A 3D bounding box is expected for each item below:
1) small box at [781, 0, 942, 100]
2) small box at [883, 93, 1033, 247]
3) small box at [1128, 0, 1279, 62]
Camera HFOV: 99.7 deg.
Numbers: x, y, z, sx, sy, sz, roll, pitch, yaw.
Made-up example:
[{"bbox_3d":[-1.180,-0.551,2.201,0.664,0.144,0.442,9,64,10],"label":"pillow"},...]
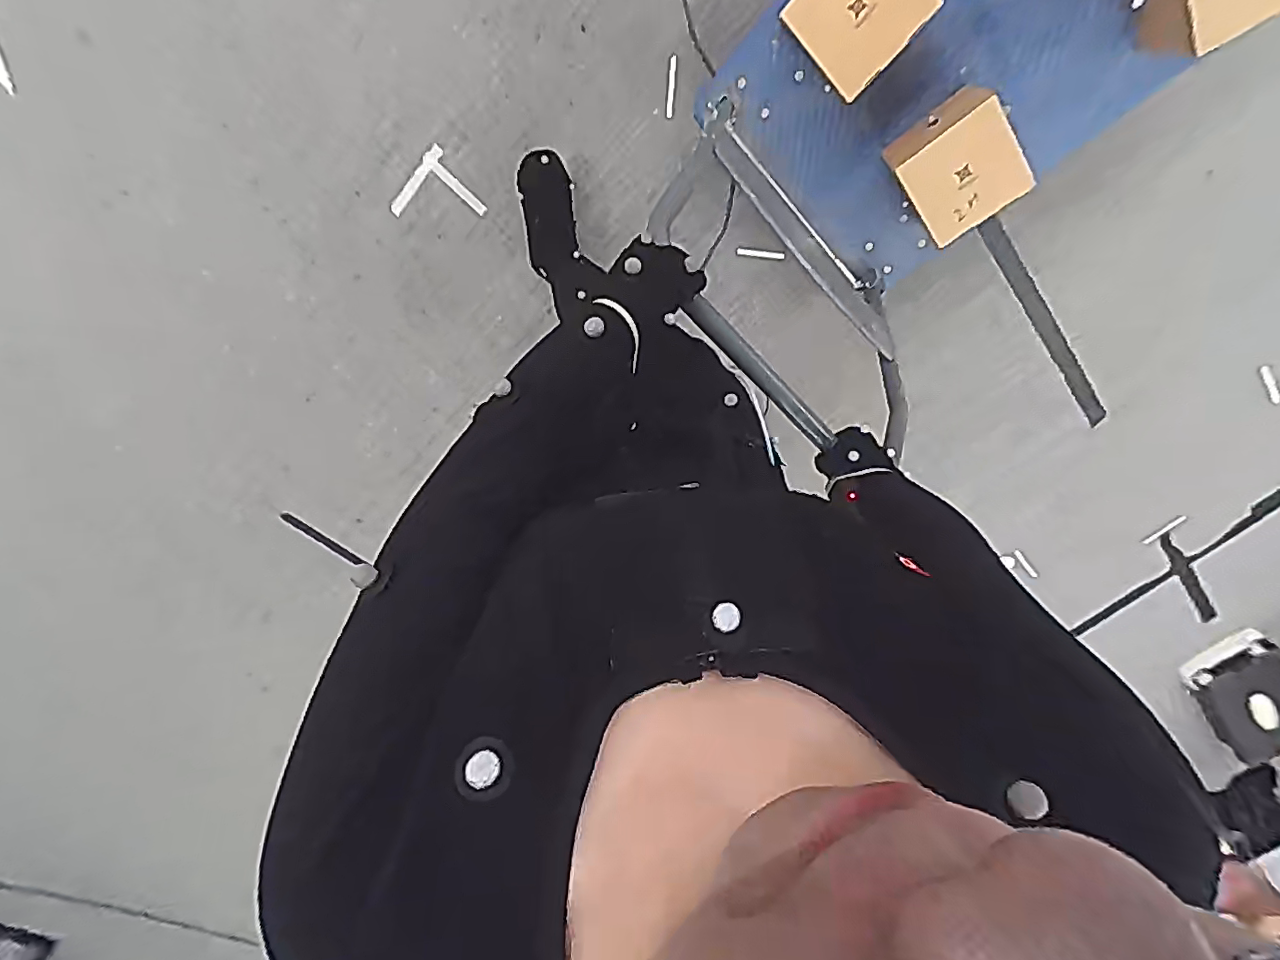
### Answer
[{"bbox_3d":[0.346,-0.764,0.877,0.179,0.176,0.168,37,128,-20],"label":"small box"},{"bbox_3d":[0.570,-0.570,0.990,0.168,0.176,0.179,-30,118,33],"label":"small box"},{"bbox_3d":[0.845,-0.749,0.772,0.179,0.176,0.168,-24,121,30],"label":"small box"}]
